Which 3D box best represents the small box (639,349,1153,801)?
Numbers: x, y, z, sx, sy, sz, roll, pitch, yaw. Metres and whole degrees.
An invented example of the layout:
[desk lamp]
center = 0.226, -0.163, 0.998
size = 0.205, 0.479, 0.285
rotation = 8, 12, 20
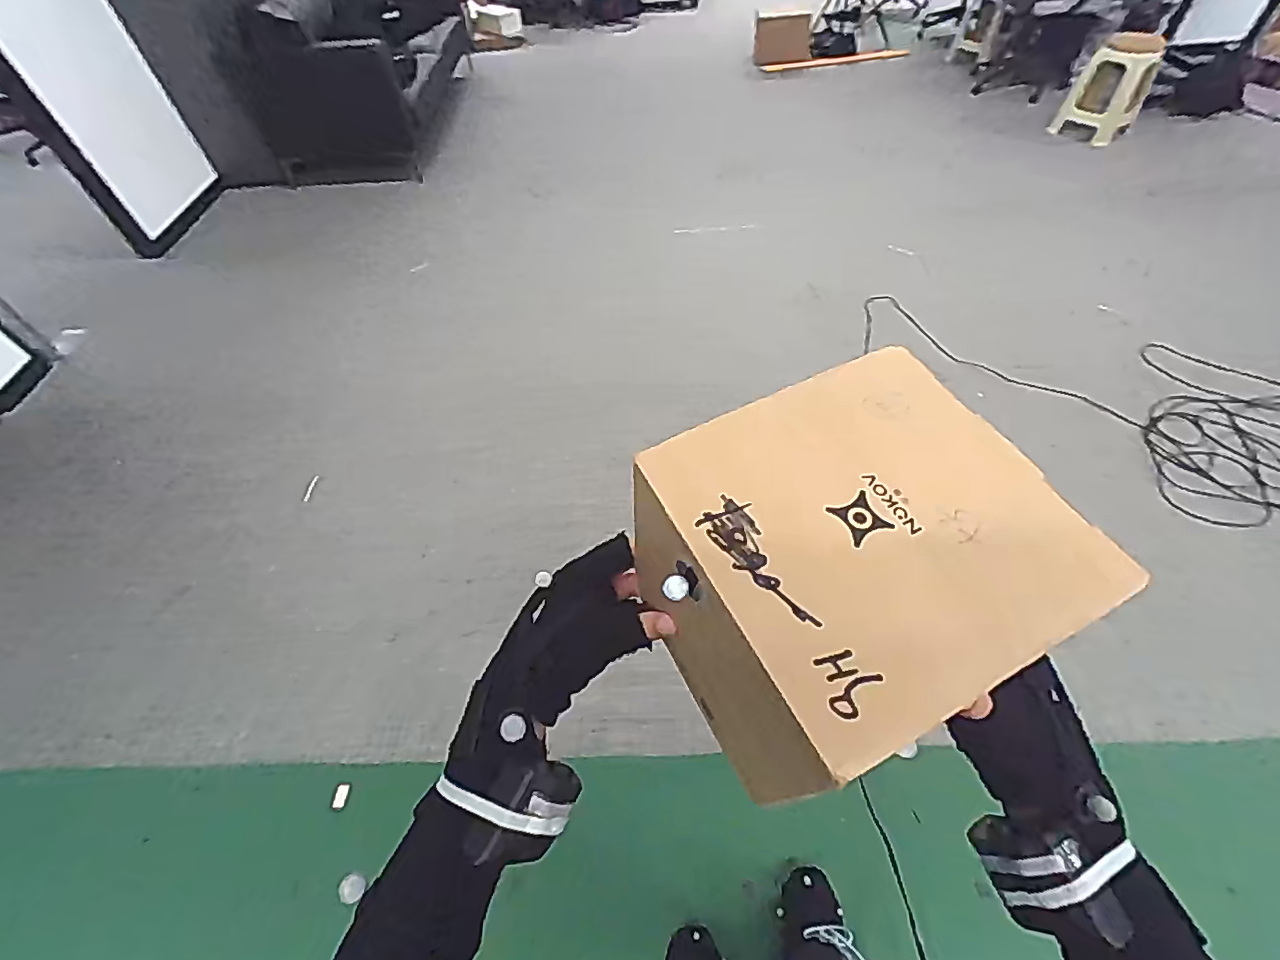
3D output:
[small box]
center = 0.109, 0.060, 0.316
size = 0.179, 0.176, 0.168
rotation = -22, 60, -15
